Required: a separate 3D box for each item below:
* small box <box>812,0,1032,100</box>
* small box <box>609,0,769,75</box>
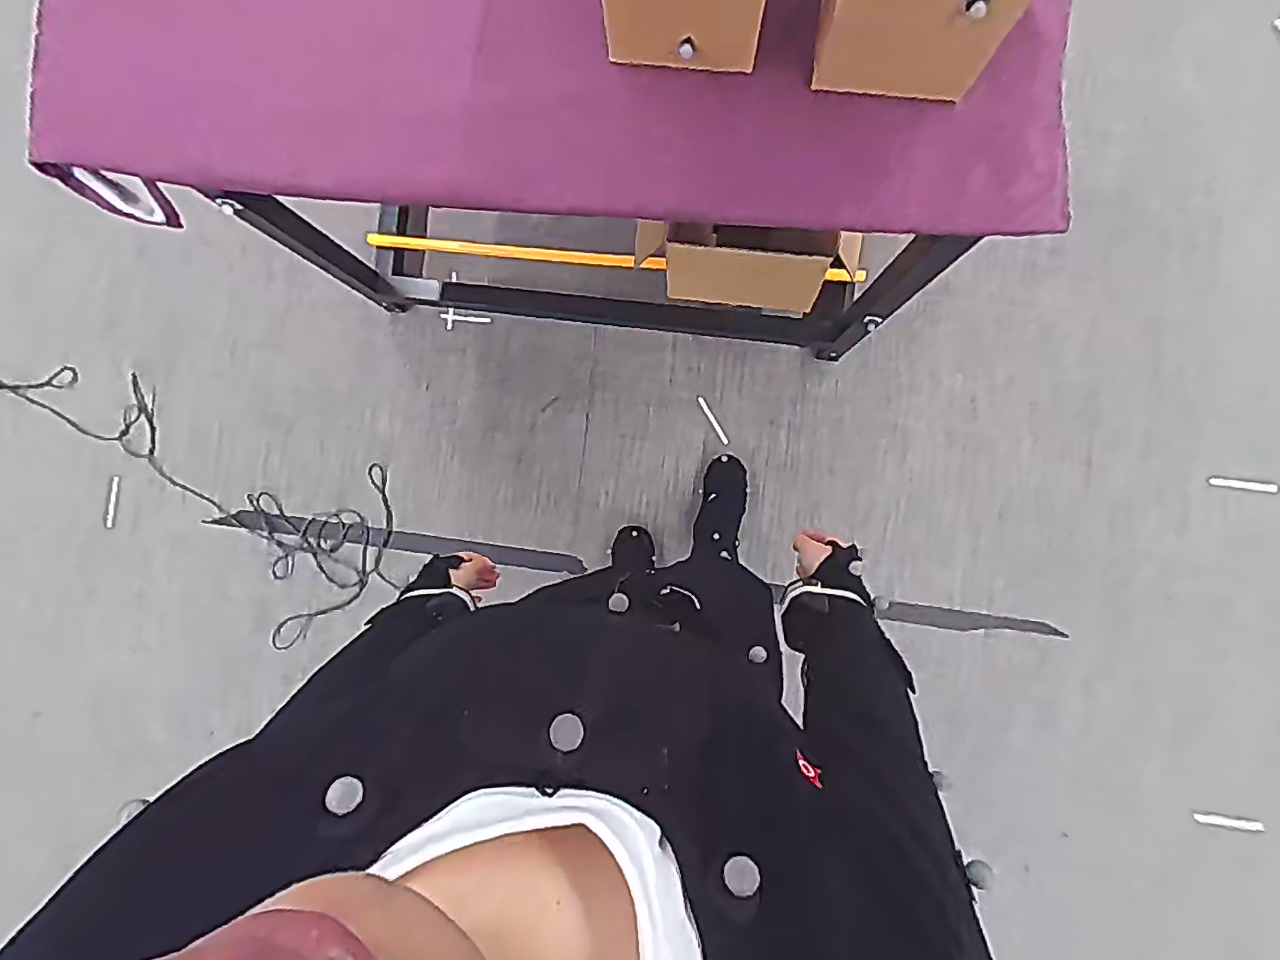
[{"bbox_3d":[0.299,-0.542,0.568,0.179,0.176,0.168,8,87,3],"label":"small box"},{"bbox_3d":[0.058,-0.585,0.581,0.179,0.176,0.168,8,87,4],"label":"small box"}]
